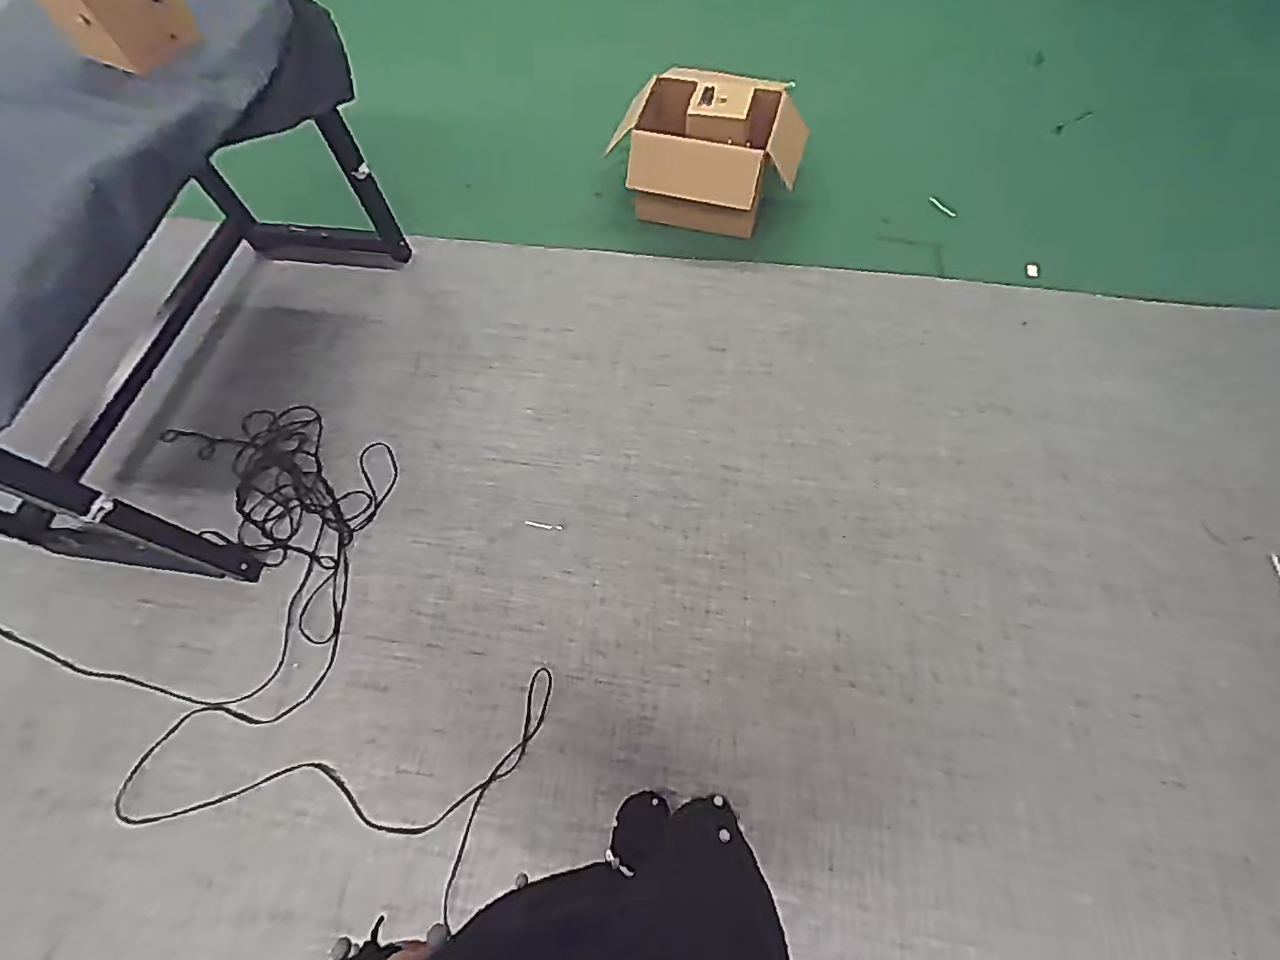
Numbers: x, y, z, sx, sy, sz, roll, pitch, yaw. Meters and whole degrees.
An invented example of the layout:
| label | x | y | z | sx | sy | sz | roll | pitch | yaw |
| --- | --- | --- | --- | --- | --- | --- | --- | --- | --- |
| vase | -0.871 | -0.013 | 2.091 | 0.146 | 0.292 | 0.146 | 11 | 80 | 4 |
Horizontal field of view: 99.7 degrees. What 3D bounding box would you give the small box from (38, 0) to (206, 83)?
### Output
| label | x | y | z | sx | sy | sz | roll | pitch | yaw |
| --- | --- | --- | --- | --- | --- | --- | --- | --- | --- |
| small box | -1.014 | -0.914 | 1.052 | 0.179 | 0.176 | 0.168 | 23 | 66 | 15 |
